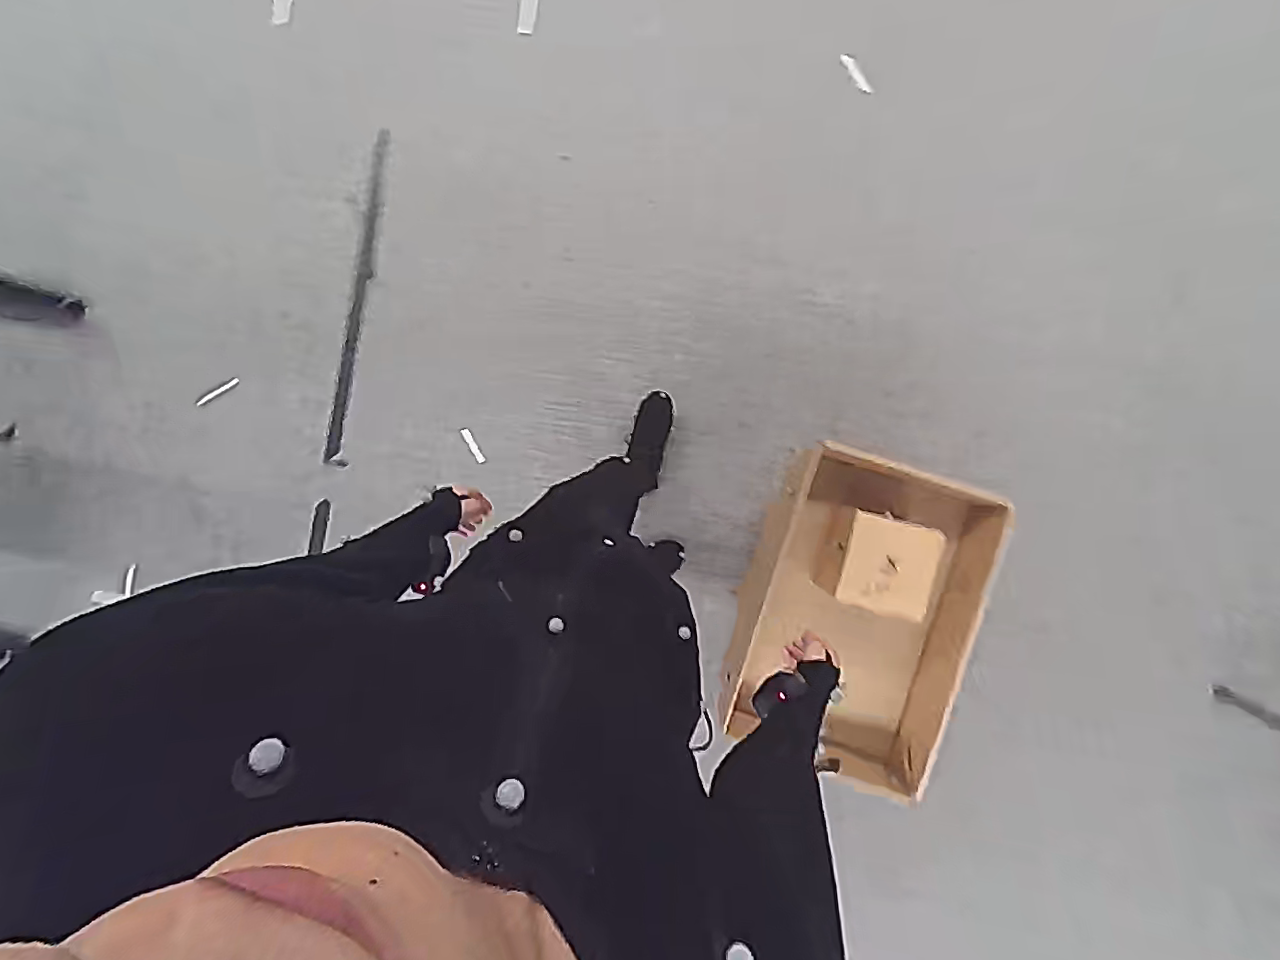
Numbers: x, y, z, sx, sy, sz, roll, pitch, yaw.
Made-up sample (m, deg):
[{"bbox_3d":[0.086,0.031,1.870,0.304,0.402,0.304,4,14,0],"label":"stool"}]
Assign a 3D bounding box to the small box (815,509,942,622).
[{"bbox_3d":[0.469,0.162,1.092,0.168,0.176,0.179,16,92,4],"label":"small box"}]
